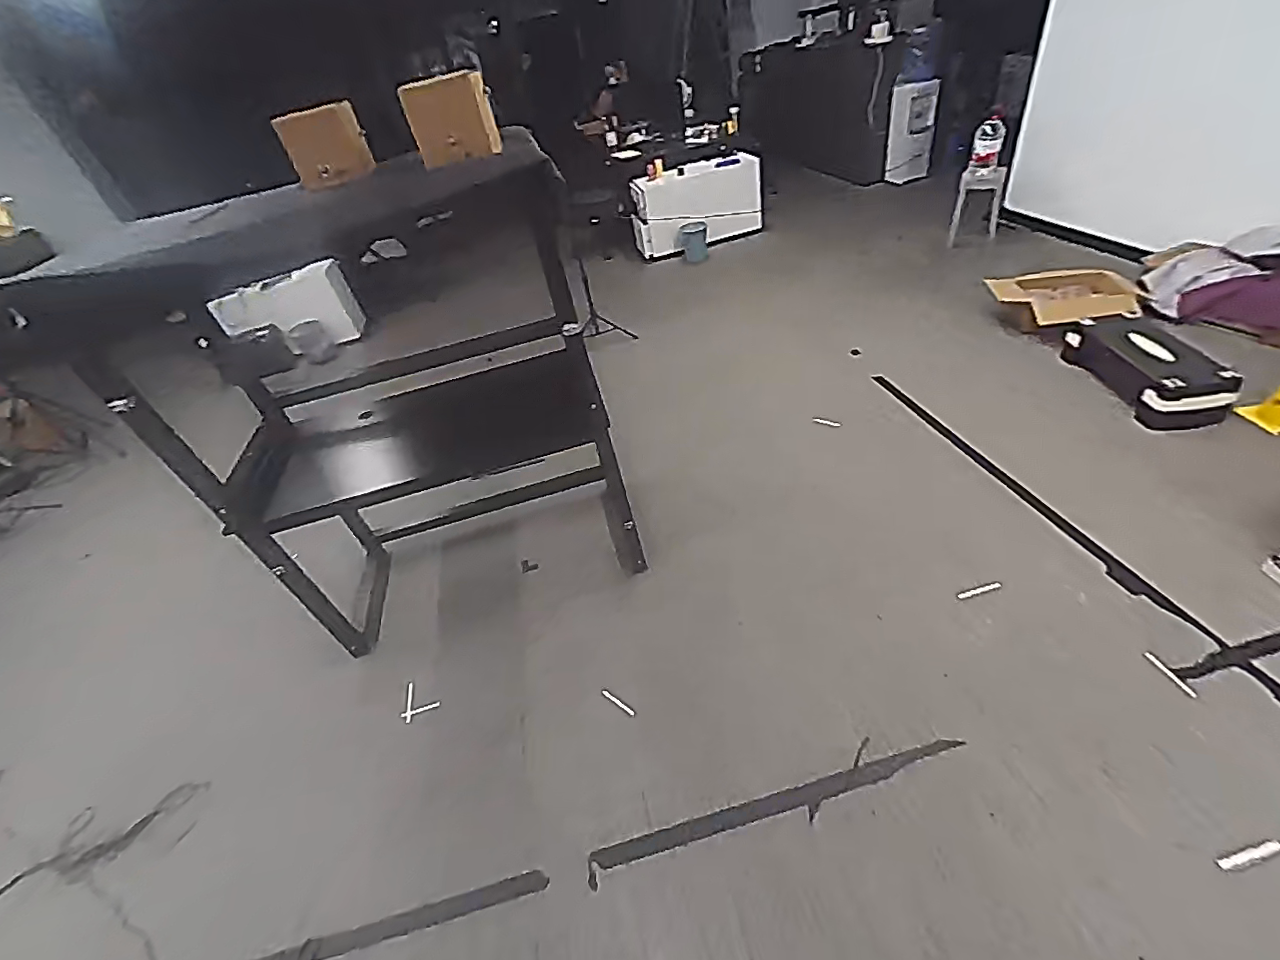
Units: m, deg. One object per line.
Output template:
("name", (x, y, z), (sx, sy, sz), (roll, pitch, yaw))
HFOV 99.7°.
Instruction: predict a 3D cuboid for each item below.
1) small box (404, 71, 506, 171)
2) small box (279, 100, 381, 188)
("small box", (-0.430, -0.857, 1.293), (0.168, 0.176, 0.179), (-12, 40, 3))
("small box", (-0.833, -0.914, 1.475), (0.168, 0.176, 0.179), (-17, 40, -3))
